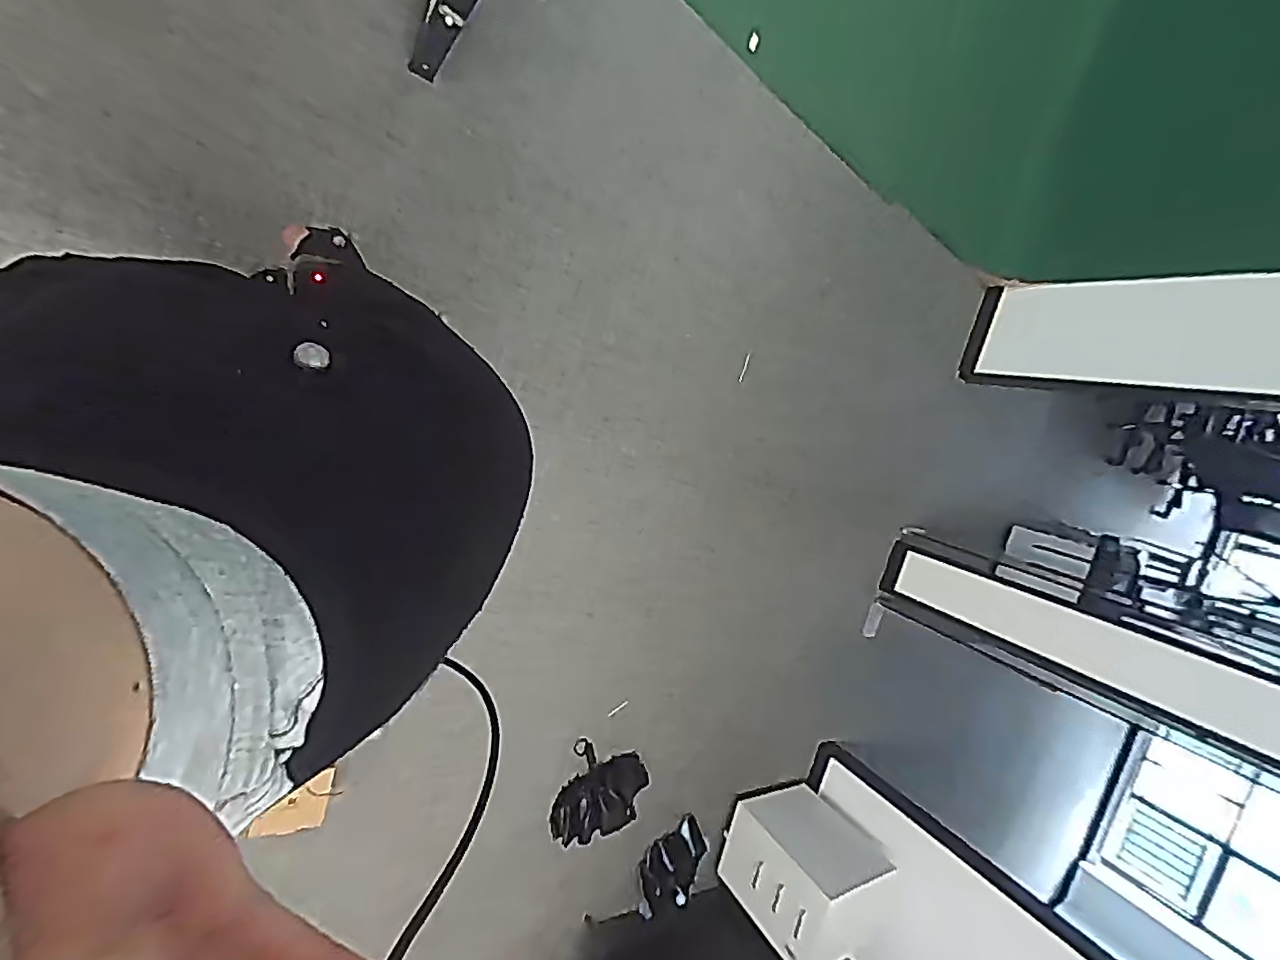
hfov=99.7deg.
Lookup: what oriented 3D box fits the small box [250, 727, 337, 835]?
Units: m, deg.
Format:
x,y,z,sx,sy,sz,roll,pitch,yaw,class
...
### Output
x,y,z,sx,sy,sz,roll,pitch,yaw,class
-0.931,0.799,1.452,0.168,0.176,0.179,11,97,-36,small box
